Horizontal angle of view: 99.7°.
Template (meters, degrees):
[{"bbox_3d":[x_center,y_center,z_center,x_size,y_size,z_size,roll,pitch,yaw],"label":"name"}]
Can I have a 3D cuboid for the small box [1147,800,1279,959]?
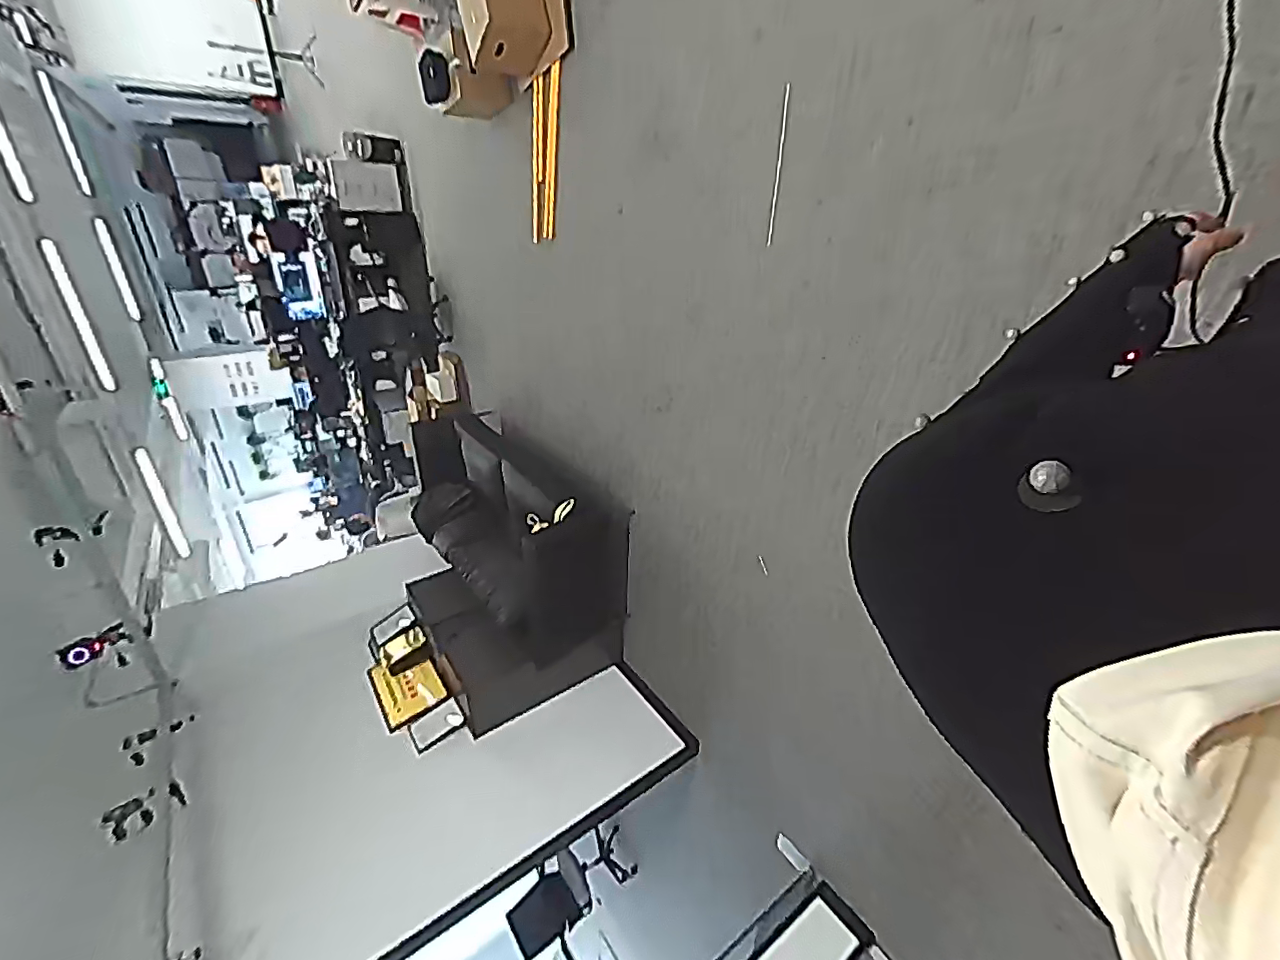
[{"bbox_3d":[1.198,0.807,1.099,0.168,0.176,0.179,35,134,42],"label":"small box"}]
